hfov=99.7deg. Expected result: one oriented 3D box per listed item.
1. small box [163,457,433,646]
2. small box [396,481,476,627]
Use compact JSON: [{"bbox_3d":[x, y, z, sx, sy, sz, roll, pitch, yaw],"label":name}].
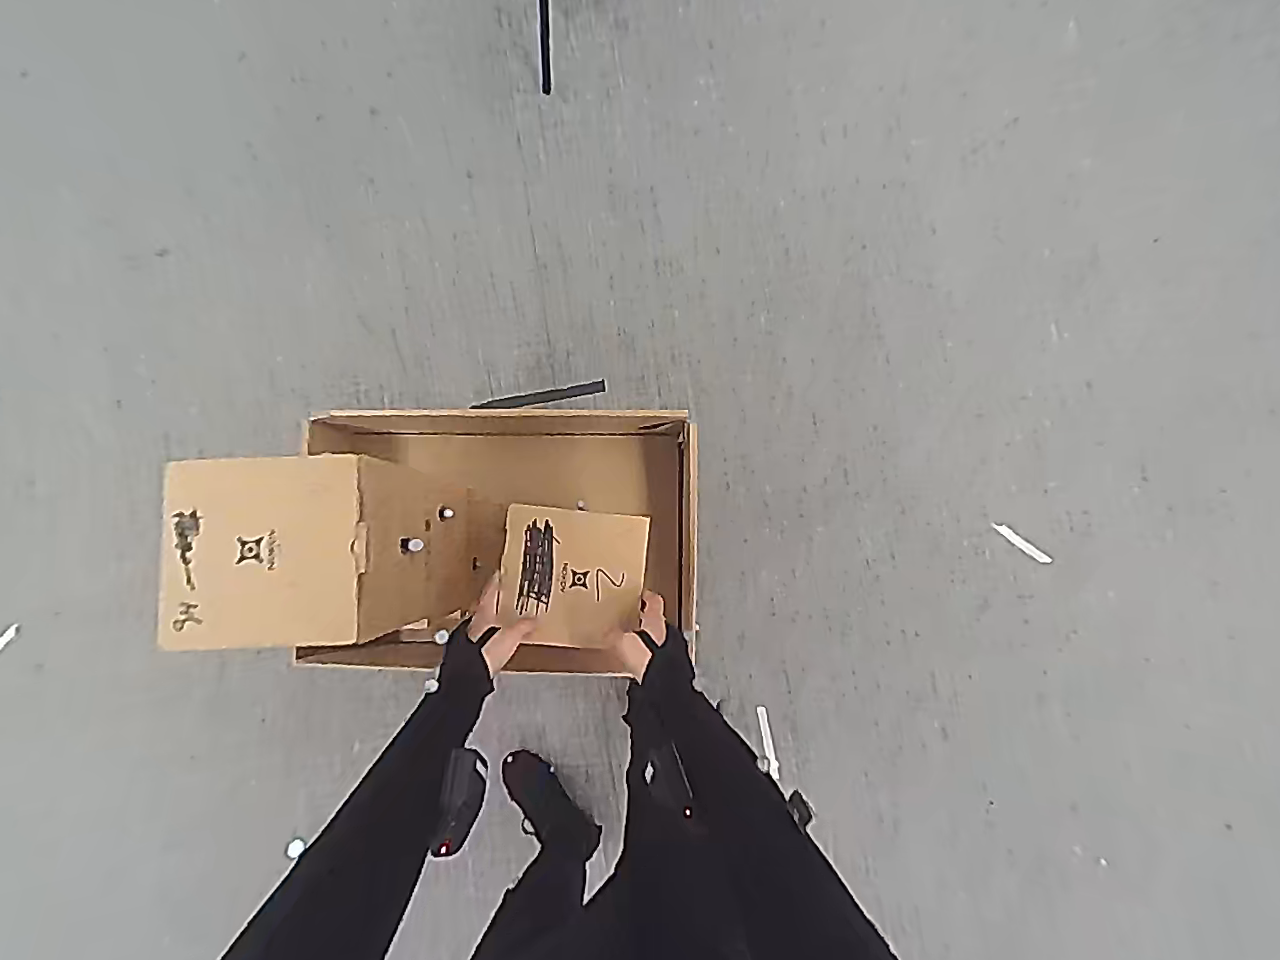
[{"bbox_3d":[-0.325,0.067,0.551,0.179,0.176,0.168,-1,85,0],"label":"small box"},{"bbox_3d":[-0.323,0.090,0.714,0.168,0.176,0.179,0,85,0],"label":"small box"}]
